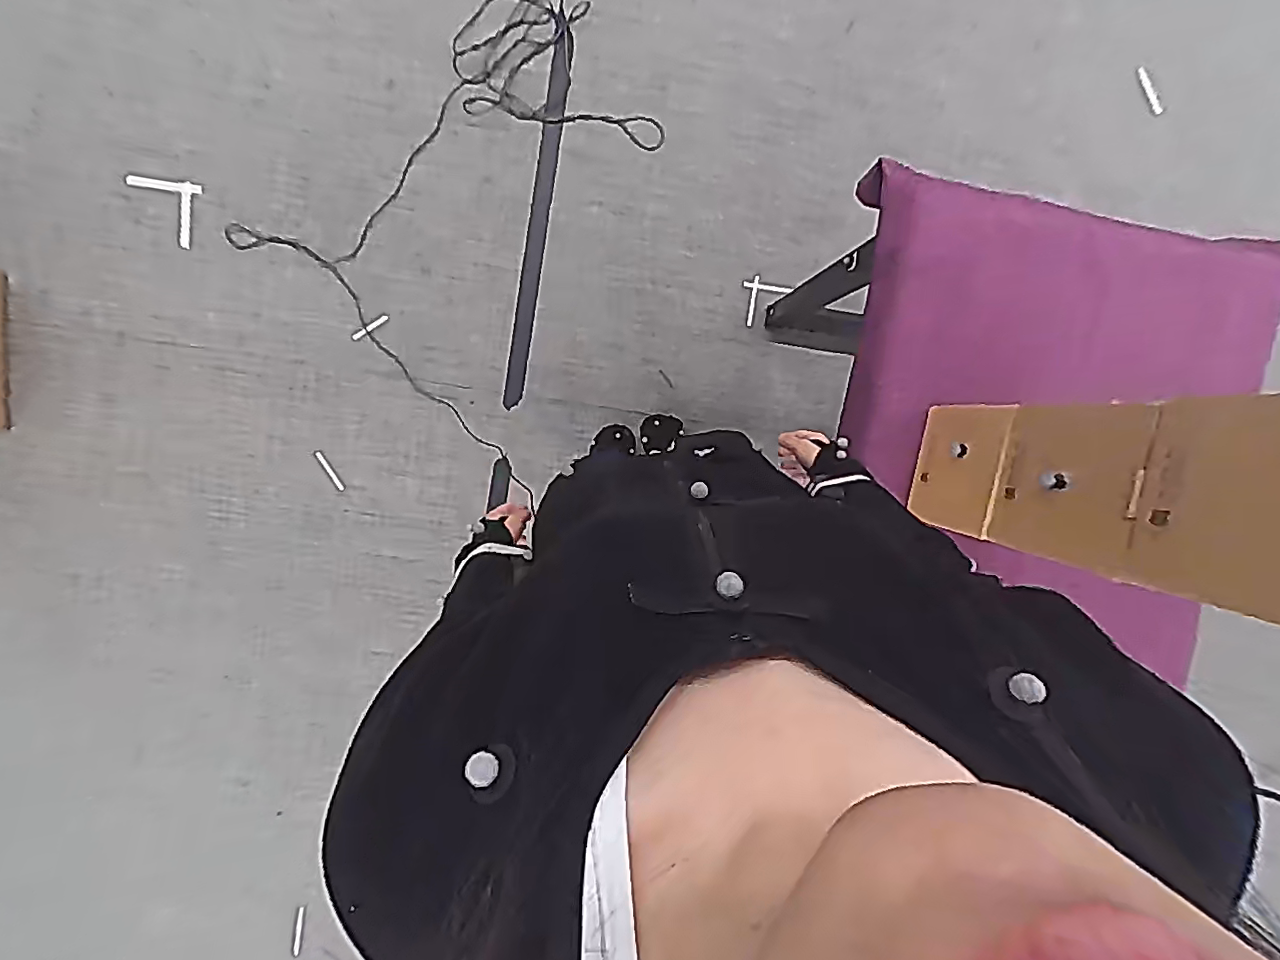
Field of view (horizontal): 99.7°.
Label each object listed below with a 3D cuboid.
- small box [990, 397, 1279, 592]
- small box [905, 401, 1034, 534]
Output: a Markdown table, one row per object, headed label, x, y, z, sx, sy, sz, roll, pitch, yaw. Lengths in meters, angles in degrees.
| label | x | y | z | sx | sy | sz | roll | pitch | yaw |
| --- | --- | --- | --- | --- | --- | --- | --- | --- | --- |
| small box | 0.522 | 0.008 | 0.581 | 0.179 | 0.176 | 0.168 | 7 | 96 | -6 |
| small box | 0.500 | -0.009 | 0.742 | 0.179 | 0.176 | 0.168 | 9 | 96 | -7 |
